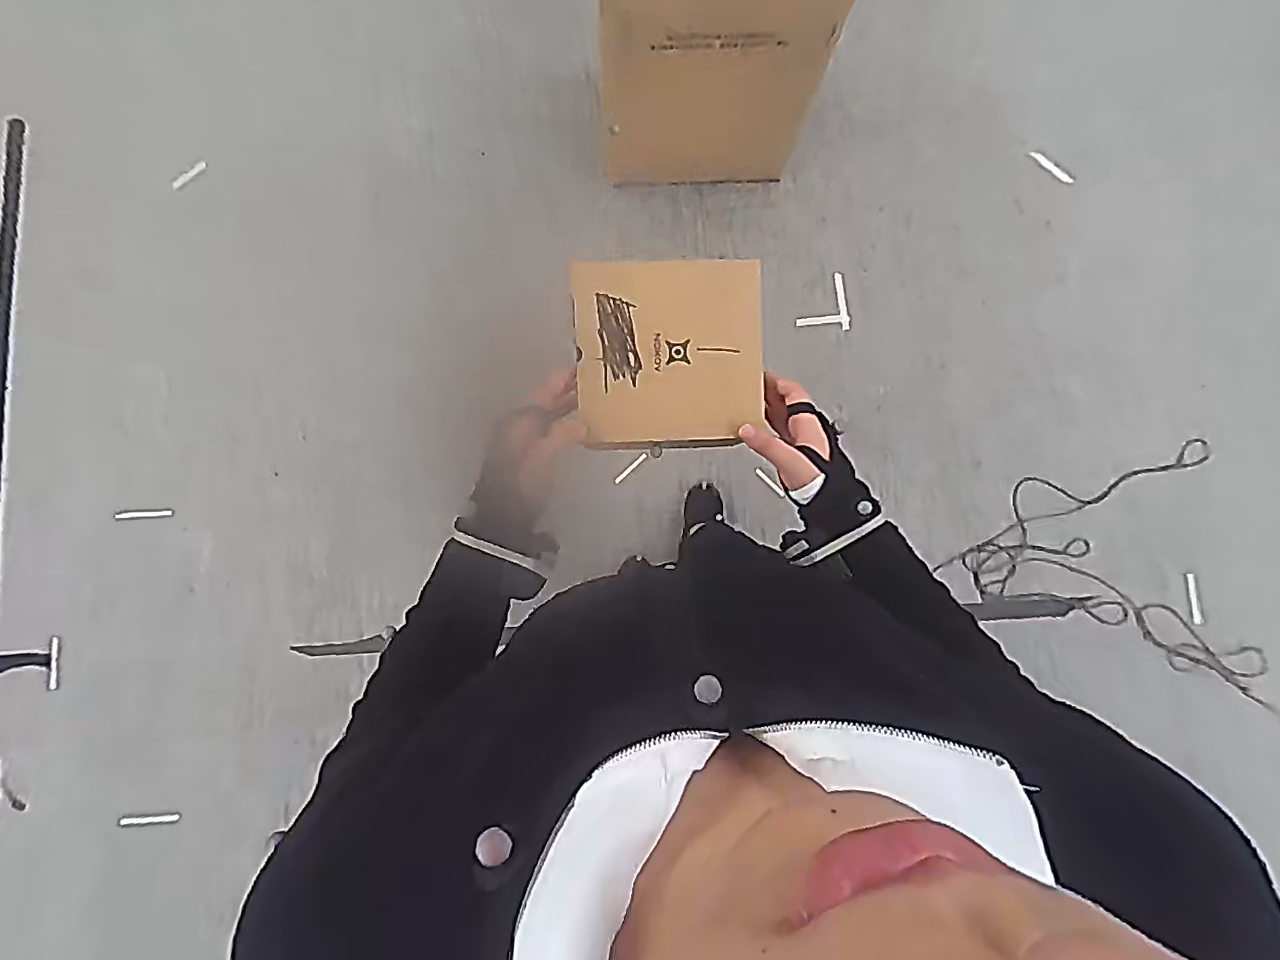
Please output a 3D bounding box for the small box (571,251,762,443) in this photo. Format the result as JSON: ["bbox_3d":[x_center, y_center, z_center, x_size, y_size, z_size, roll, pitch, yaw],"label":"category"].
[{"bbox_3d":[0.025,-0.129,0.580,0.179,0.176,0.168,-2,91,-1],"label":"small box"}]
